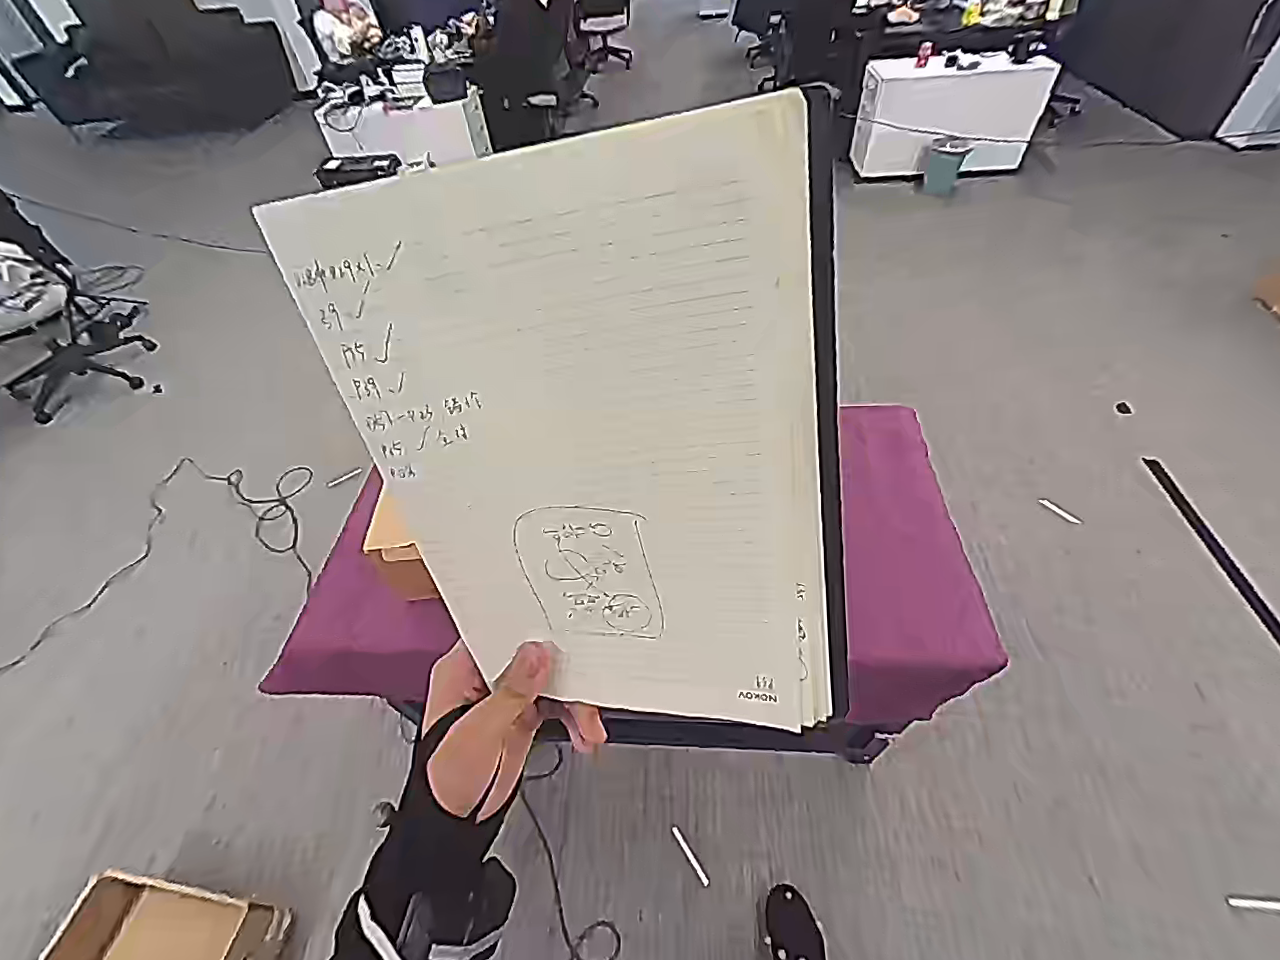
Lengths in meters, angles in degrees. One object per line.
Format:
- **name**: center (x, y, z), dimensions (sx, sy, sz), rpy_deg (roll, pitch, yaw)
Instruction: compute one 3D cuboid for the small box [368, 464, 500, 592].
- **small box**: center (-0.365, 0.095, 0.996), dimensions (0.168, 0.176, 0.179), rpy_deg (-5, 49, 0)
